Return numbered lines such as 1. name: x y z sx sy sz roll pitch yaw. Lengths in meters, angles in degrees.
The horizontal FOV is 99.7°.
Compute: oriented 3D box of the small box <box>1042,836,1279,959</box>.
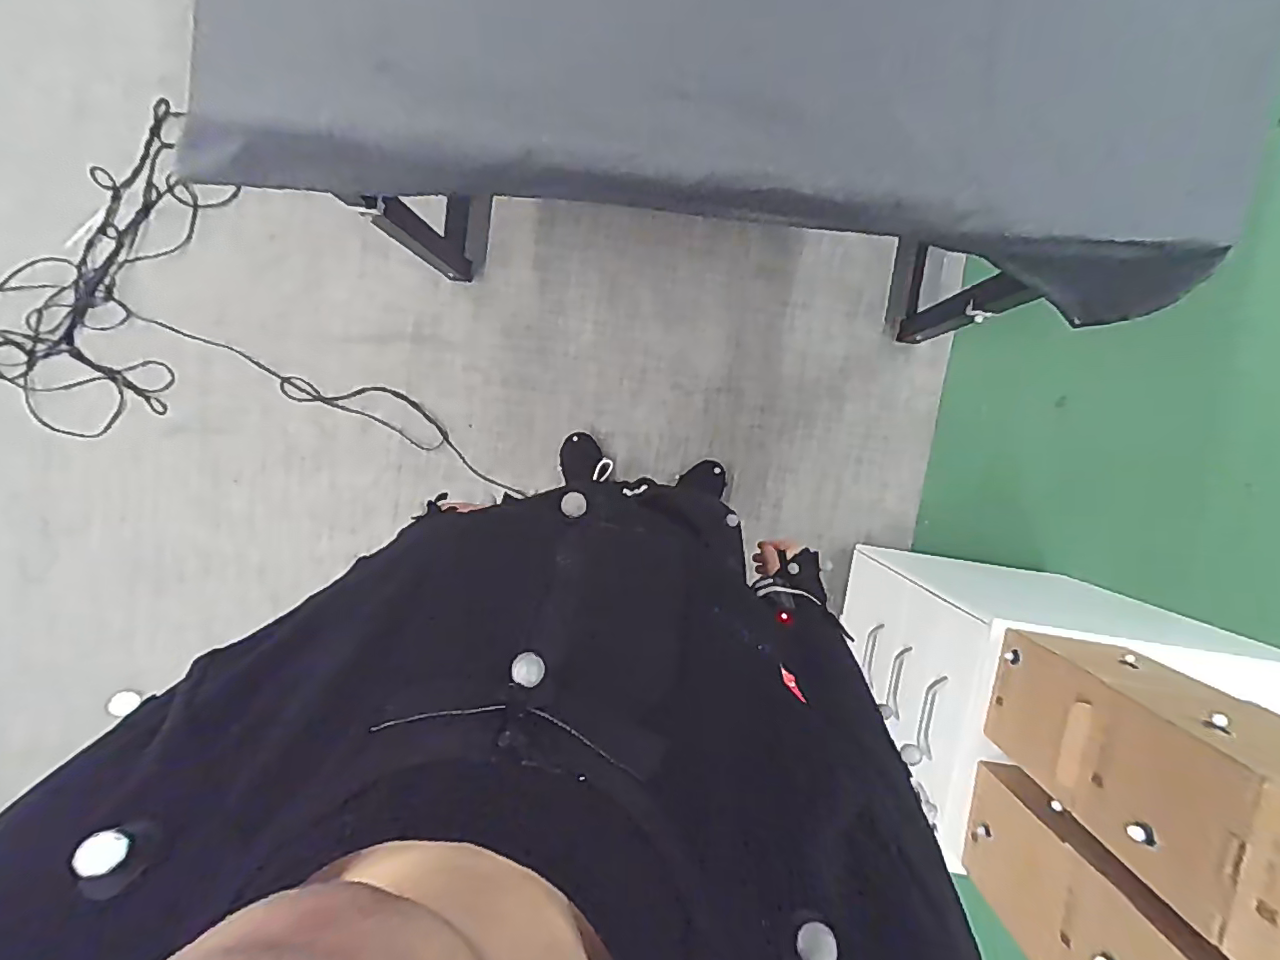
1. small box: 0.564 0.507 0.560 0.179 0.176 0.168 5 94 1
